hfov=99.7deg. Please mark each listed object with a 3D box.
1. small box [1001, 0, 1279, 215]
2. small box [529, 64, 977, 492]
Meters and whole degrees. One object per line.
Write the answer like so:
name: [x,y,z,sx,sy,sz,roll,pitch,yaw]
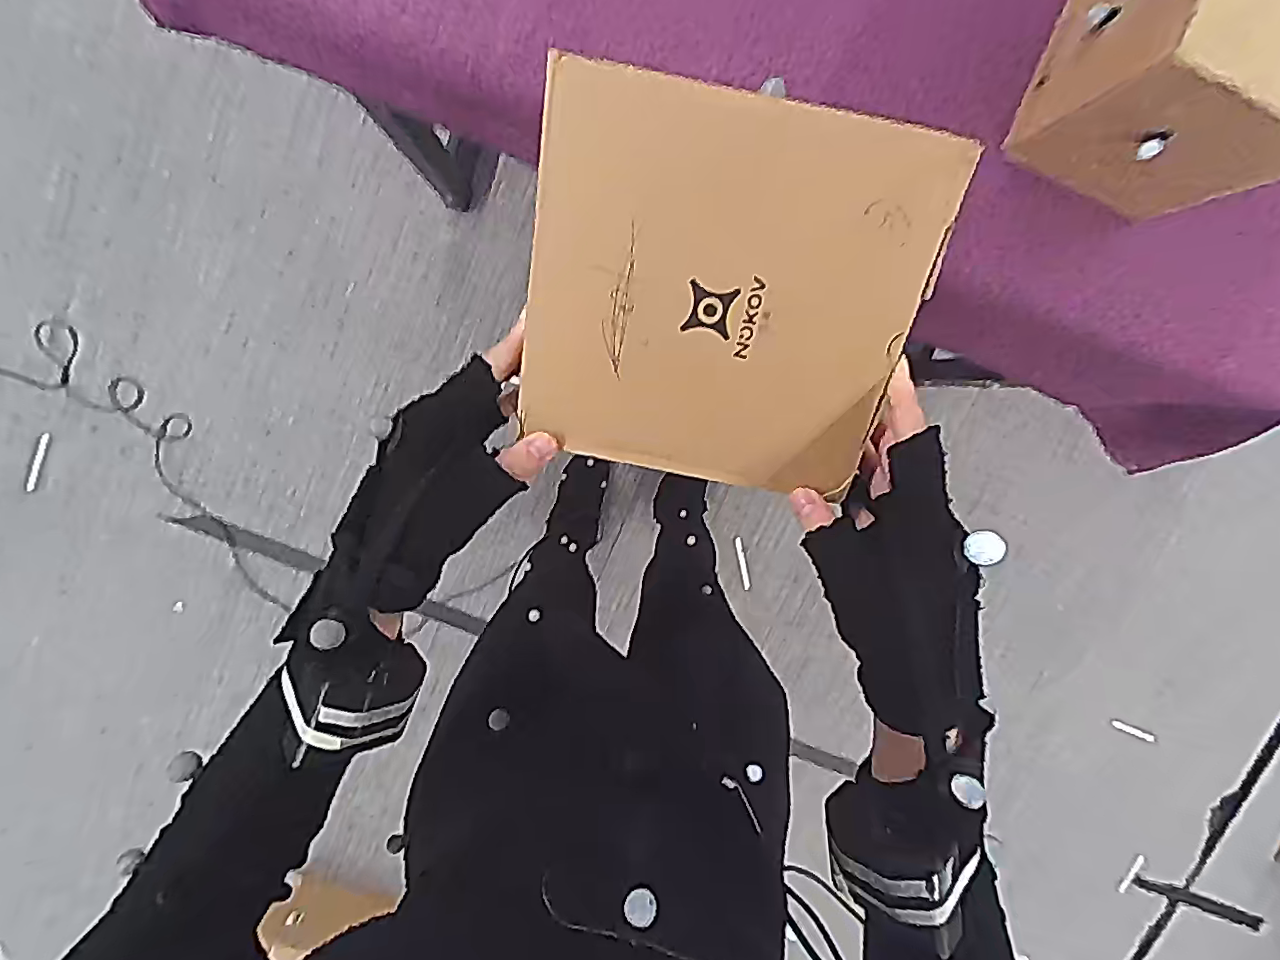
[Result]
small box: [0.471,-0.363,0.475,0.179,0.176,0.168,19,97,-6]
small box: [0.045,-0.112,0.323,0.179,0.176,0.168,10,113,1]
